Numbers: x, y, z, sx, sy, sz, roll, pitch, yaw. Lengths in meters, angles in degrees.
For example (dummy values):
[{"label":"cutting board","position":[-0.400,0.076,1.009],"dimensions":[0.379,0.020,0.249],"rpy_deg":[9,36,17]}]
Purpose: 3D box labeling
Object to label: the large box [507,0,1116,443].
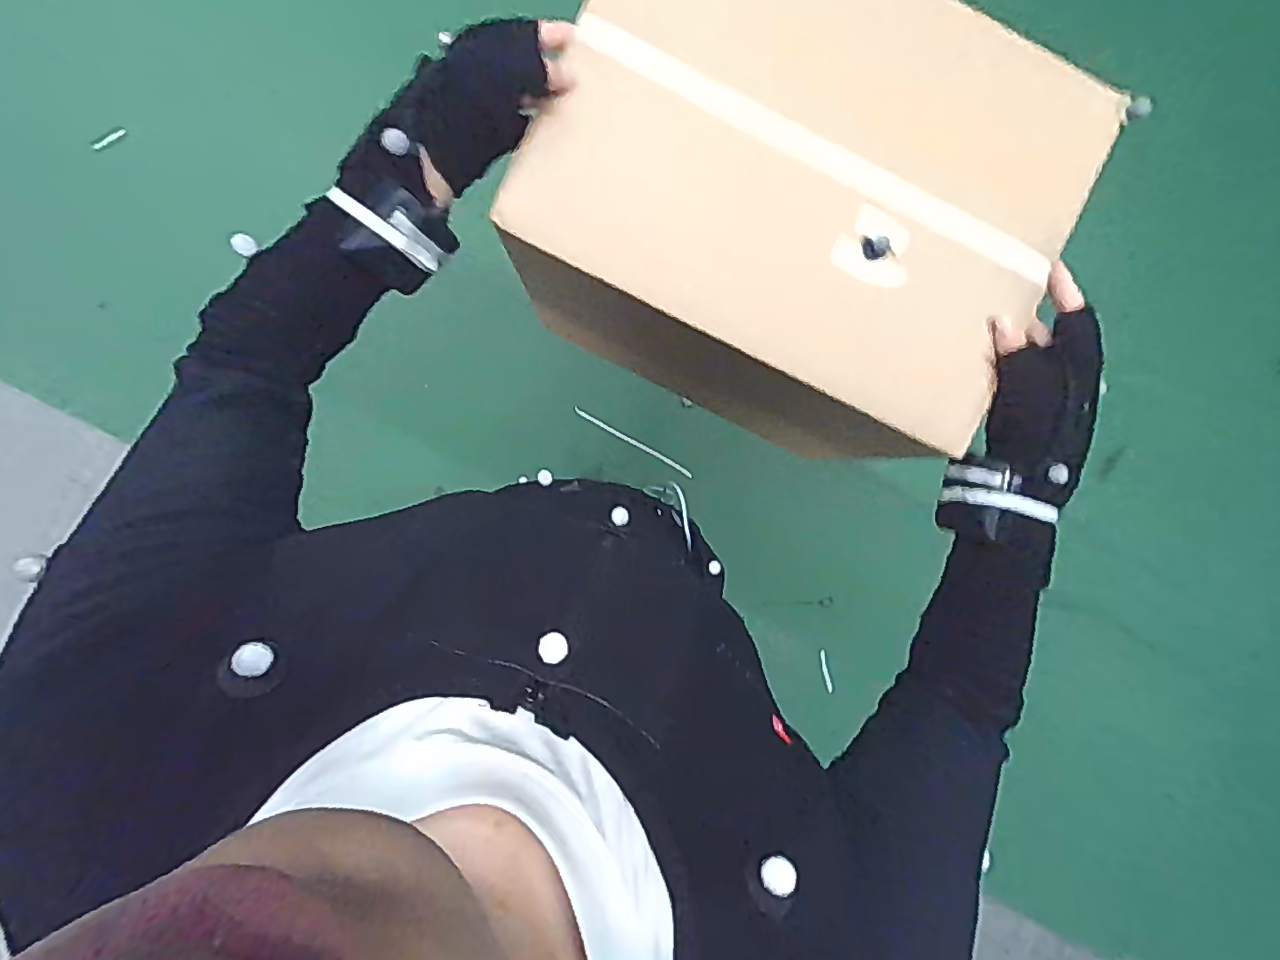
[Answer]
[{"label":"large box","position":[0.128,-0.260,0.566],"dimensions":[0.408,0.320,0.320],"rpy_deg":[25,92,-4]}]
